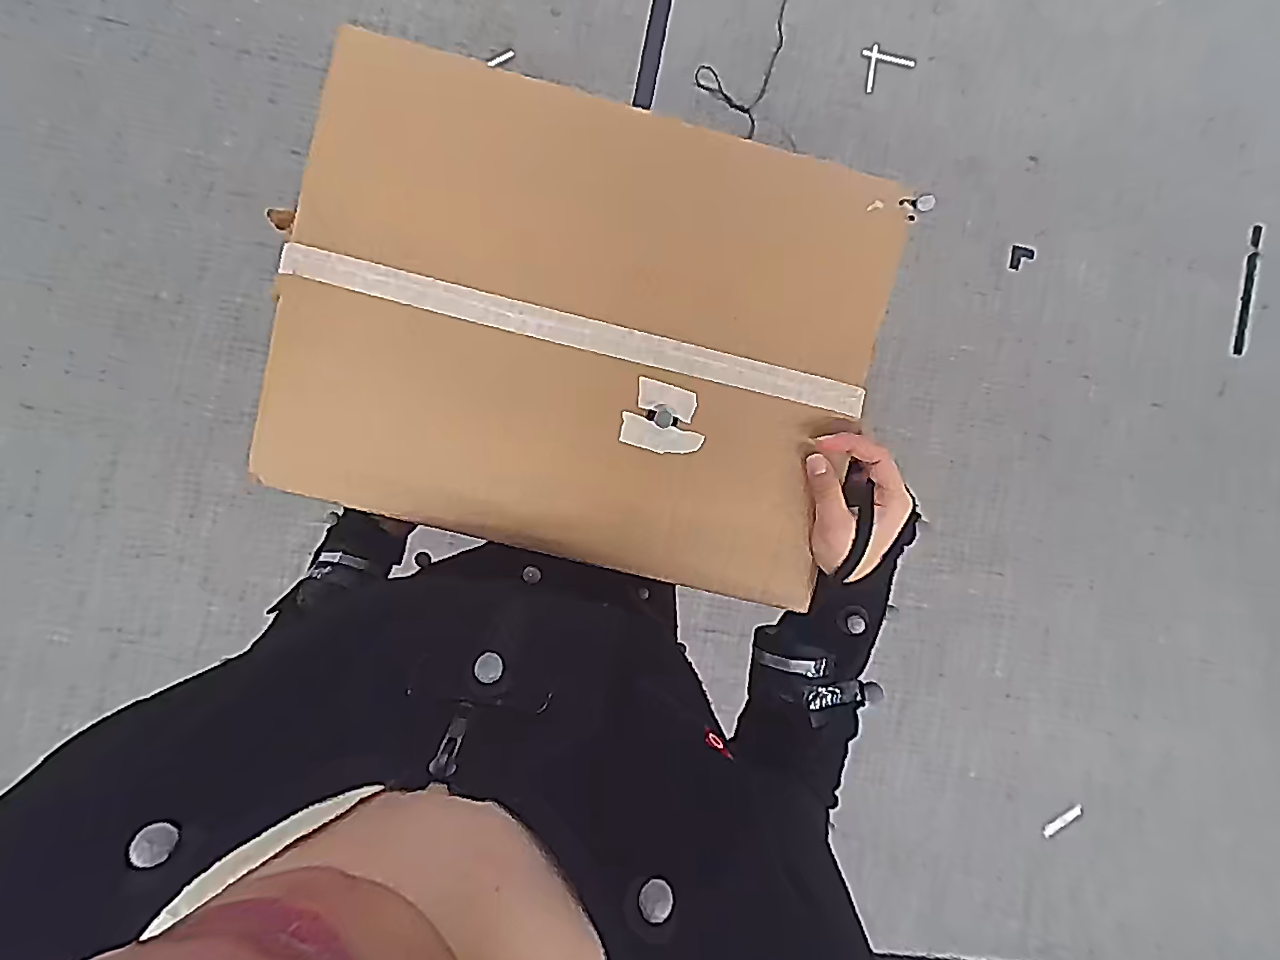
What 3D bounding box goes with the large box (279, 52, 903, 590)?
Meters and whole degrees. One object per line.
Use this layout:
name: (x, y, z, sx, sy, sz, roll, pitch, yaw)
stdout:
large box: (-0.041, -0.112, 0.535, 0.408, 0.320, 0.320, 13, 93, -4)
